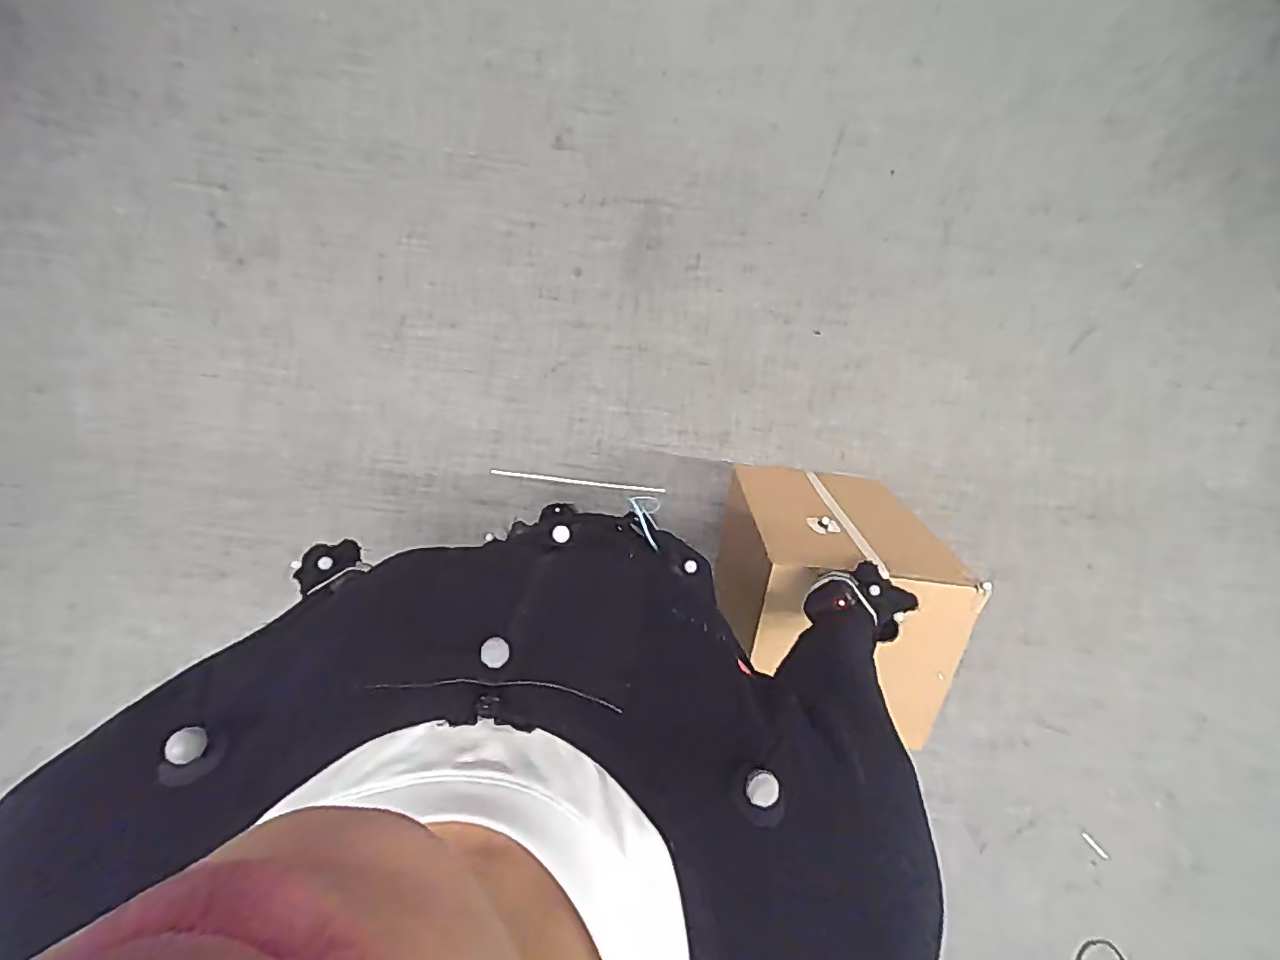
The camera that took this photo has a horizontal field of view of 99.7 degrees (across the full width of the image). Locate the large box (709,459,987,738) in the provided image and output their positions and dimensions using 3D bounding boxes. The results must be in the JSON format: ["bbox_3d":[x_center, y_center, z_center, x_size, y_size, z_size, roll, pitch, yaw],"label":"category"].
[{"bbox_3d":[0.324,0.190,0.999,0.320,0.408,0.320,6,113,-2],"label":"large box"}]
